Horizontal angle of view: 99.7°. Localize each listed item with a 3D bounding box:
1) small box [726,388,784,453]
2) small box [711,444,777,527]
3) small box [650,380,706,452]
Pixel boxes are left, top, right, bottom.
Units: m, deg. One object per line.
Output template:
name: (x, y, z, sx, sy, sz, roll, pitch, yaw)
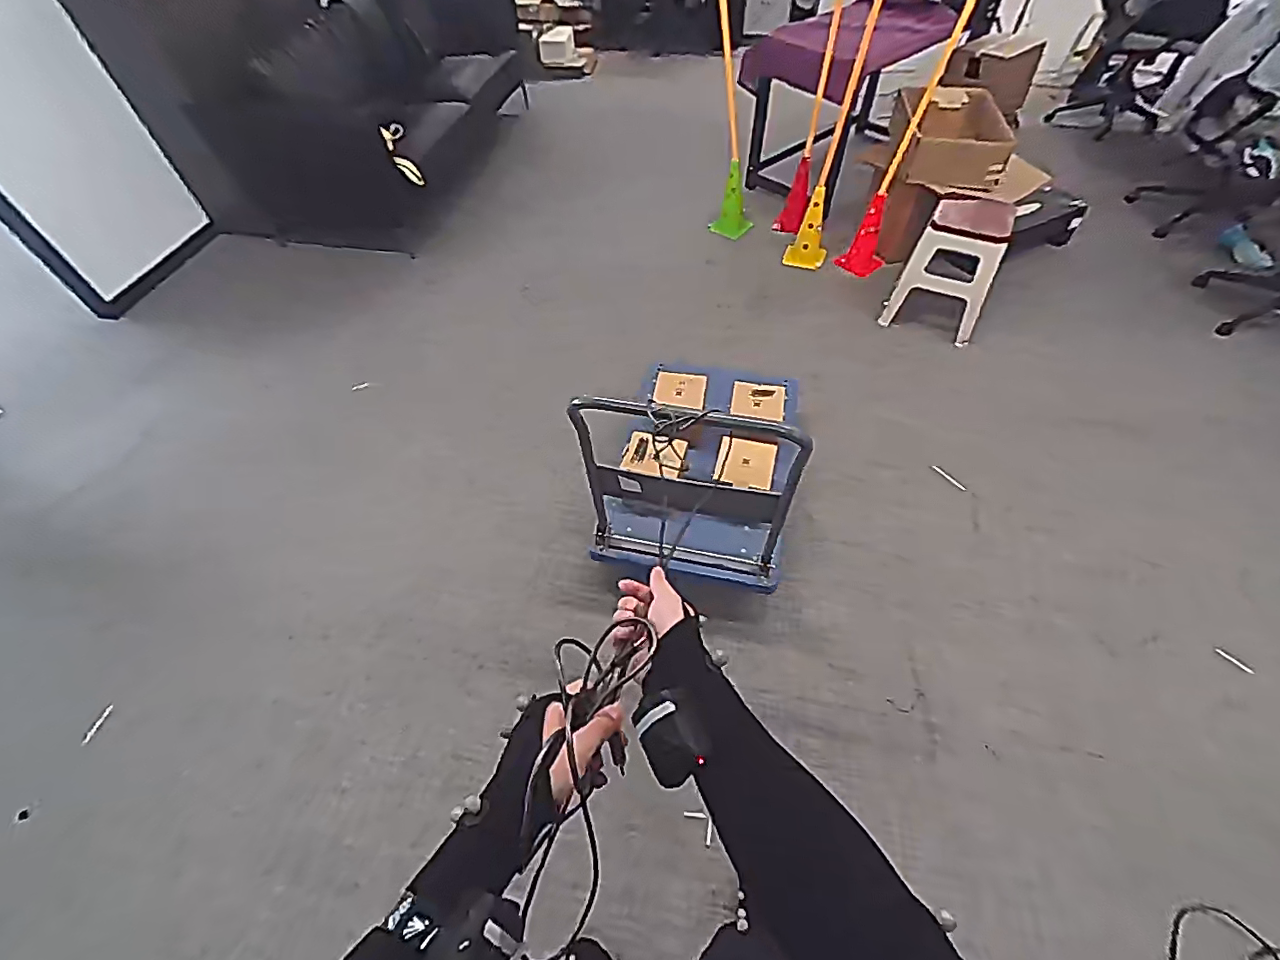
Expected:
small box: (0.379, -0.177, 1.793, 0.168, 0.176, 0.179, 7, 55, 10)
small box: (0.314, 0.018, 1.654, 0.168, 0.176, 0.179, 11, 56, 12)
small box: (0.131, -0.216, 1.840, 0.168, 0.176, 0.179, 7, 54, 8)
